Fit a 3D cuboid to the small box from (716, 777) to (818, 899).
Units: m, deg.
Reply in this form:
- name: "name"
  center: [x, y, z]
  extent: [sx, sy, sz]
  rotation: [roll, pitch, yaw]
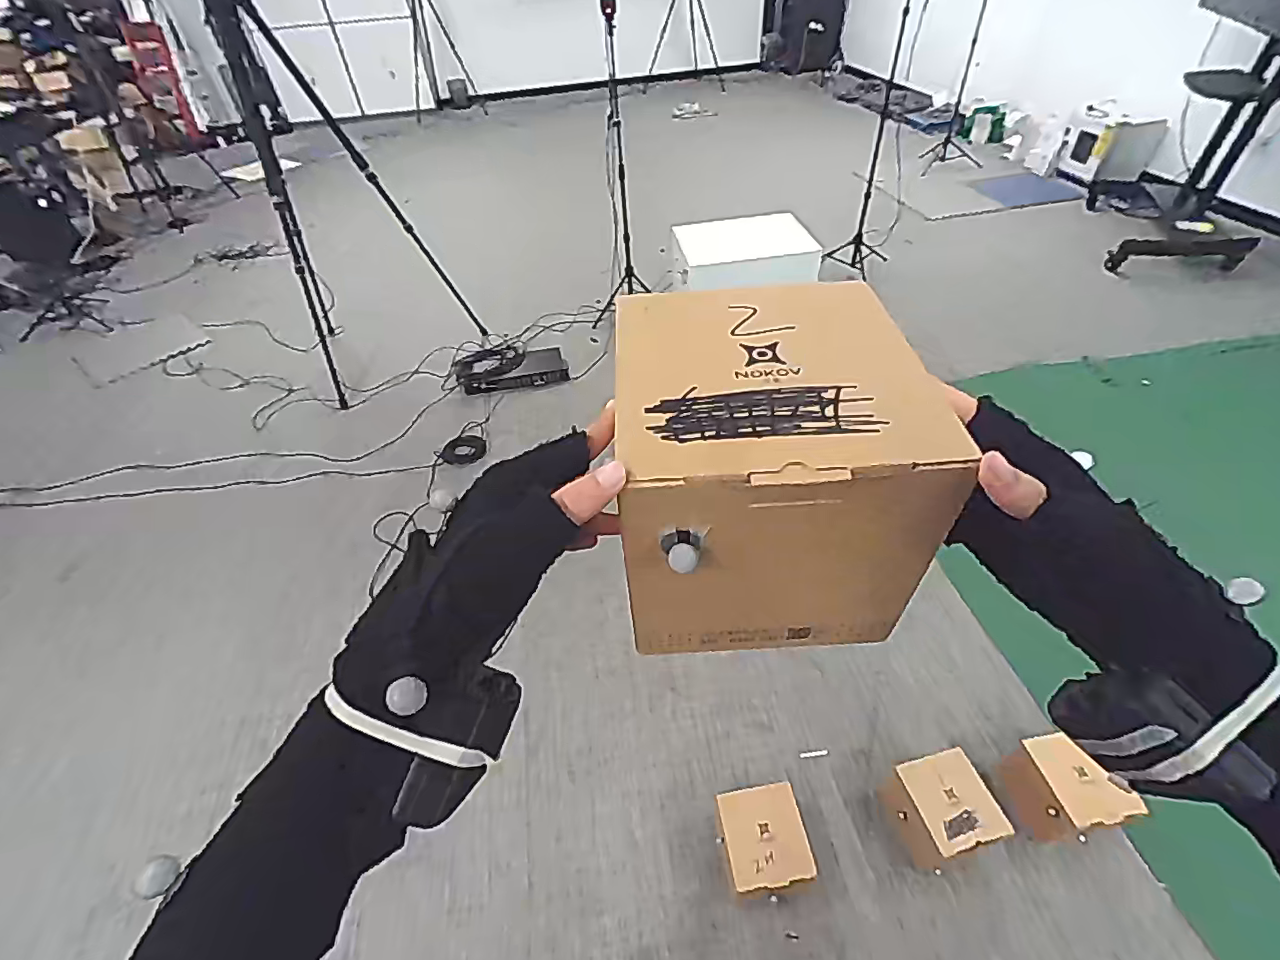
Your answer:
- name: "small box"
  center: [0.263, 0.775, 1.171]
  extent: [0.168, 0.176, 0.179]
  rotation: [-9, 46, -3]

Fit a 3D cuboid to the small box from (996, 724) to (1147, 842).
- name: "small box"
  center: [0.950, 0.681, 1.214]
  extent: [0.168, 0.176, 0.179]
  rotation: [-10, 46, -4]

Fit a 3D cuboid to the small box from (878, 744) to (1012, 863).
- name: "small box"
  center: [0.661, 0.721, 1.196]
  extent: [0.168, 0.176, 0.179]
  rotation: [-12, 45, -7]
